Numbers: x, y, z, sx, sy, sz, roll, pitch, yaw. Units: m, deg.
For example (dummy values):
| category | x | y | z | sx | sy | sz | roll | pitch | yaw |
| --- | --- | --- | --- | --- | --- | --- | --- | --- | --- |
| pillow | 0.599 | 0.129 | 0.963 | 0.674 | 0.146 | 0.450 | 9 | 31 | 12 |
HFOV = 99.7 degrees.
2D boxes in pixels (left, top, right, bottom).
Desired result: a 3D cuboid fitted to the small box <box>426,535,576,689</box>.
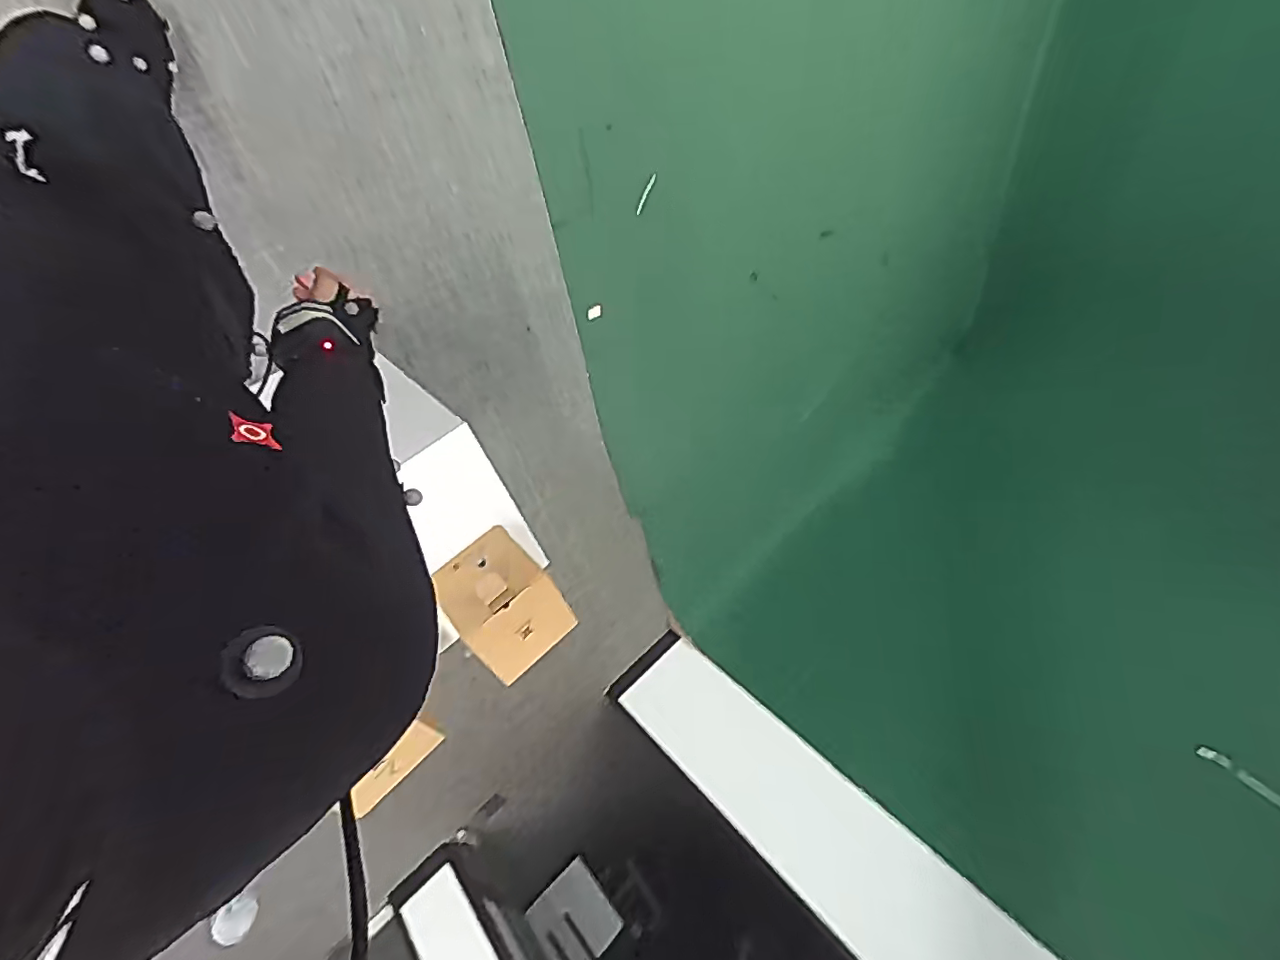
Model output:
| category | x | y | z | sx | sy | sz | roll | pitch | yaw |
| --- | --- | --- | --- | --- | --- | --- | --- | --- | --- |
| small box | -0.248 | 0.231 | 0.974 | 0.168 | 0.176 | 0.179 | -39 | 137 | -20 |
